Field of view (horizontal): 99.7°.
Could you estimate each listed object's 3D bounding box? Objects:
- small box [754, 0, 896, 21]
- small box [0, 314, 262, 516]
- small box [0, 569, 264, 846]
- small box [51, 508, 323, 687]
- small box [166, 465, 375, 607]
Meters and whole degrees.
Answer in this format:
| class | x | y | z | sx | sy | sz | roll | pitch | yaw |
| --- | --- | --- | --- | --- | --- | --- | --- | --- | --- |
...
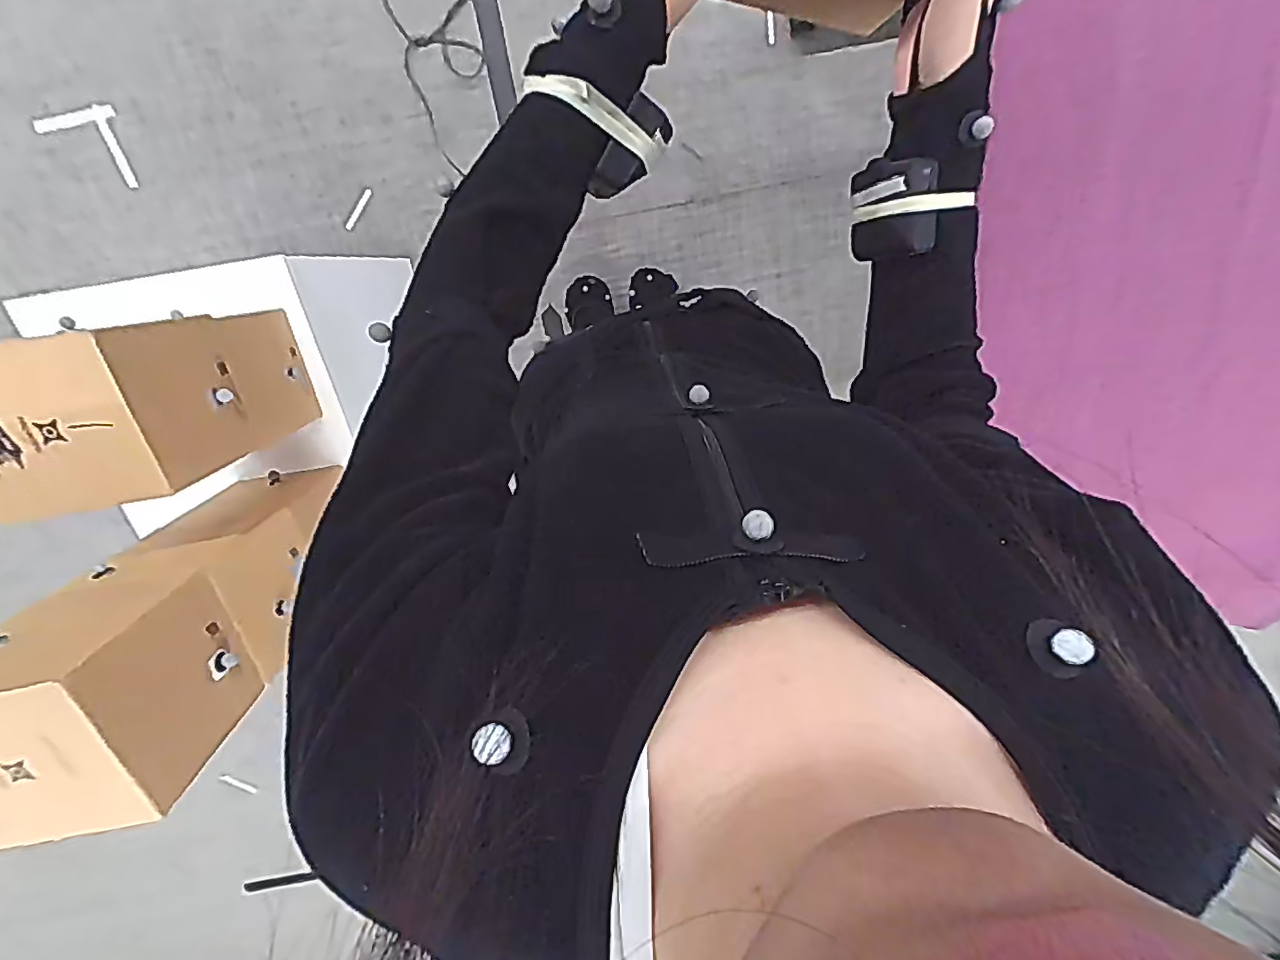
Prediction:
| class | x | y | z | sx | sy | sz | roll | pitch | yaw |
| --- | --- | --- | --- | --- | --- | --- | --- | --- | --- |
| small box | 0.130 | -0.431 | 0.341 | 0.179 | 0.176 | 0.168 | 9 | 112 | -6 |
| small box | -0.562 | -0.079 | 0.578 | 0.179 | 0.176 | 0.168 | -8 | 113 | -2 |
| small box | -0.523 | 0.208 | 0.523 | 0.179 | 0.176 | 0.168 | -11 | 113 | 0 |
| small box | -0.531 | 0.149 | 0.674 | 0.179 | 0.176 | 0.168 | -10 | 112 | 1 |
| small box | -0.544 | 0.089 | 0.826 | 0.179 | 0.176 | 0.168 | -9 | 112 | 1 |
